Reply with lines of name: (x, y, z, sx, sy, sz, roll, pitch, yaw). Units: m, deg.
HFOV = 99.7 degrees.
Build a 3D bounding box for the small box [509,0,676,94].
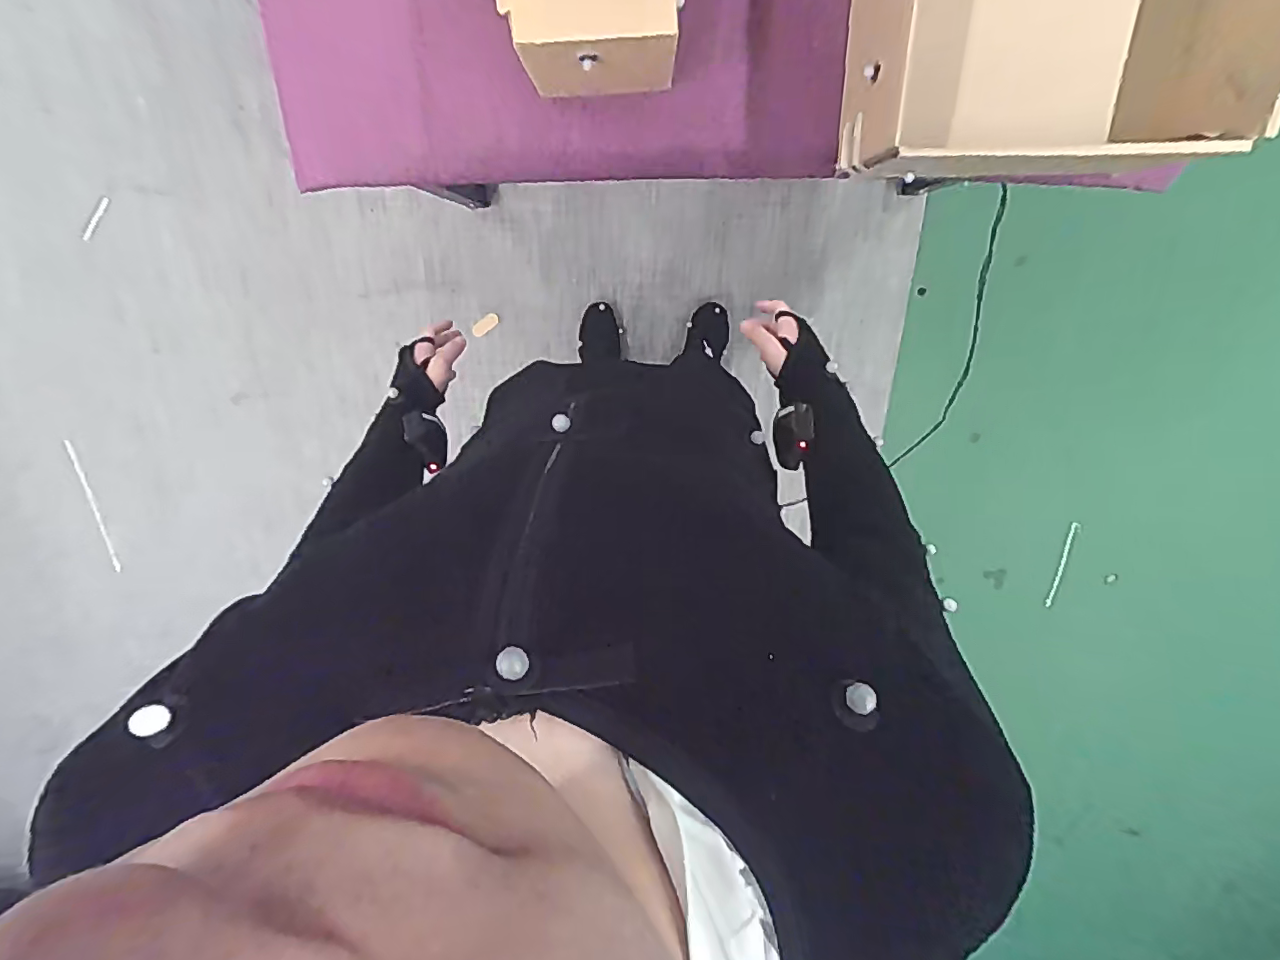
small box: (-0.050, -0.564, 0.616, 0.179, 0.176, 0.168, -3, 110, 1)
